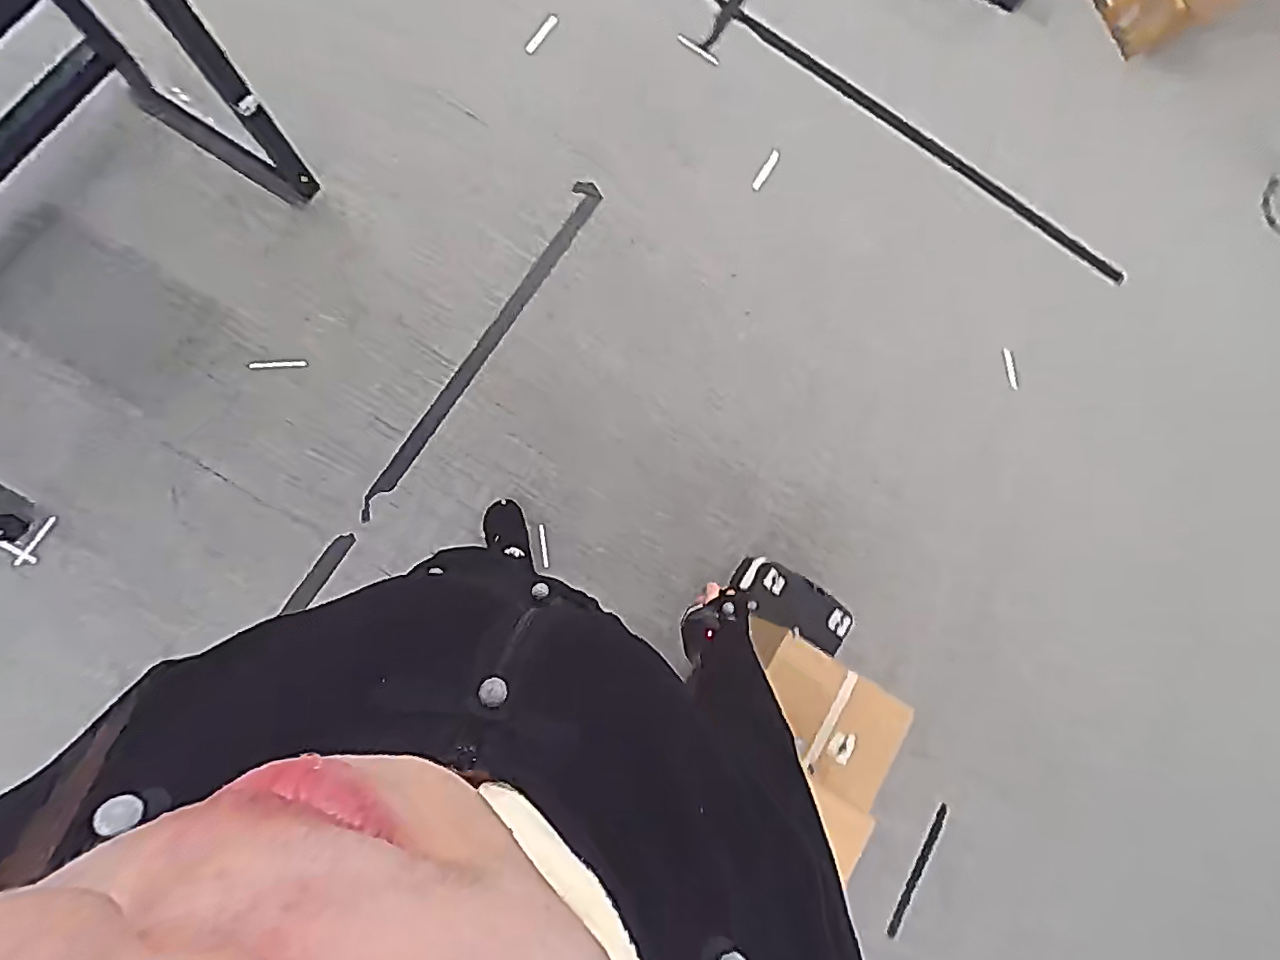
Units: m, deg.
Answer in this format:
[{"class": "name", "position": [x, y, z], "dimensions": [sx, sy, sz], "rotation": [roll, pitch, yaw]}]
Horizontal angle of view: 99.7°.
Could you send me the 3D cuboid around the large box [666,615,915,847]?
[{"class": "large box", "position": [0.301, 0.560, 1.176], "dimensions": [0.320, 0.320, 0.408], "rotation": [33, 79, -3]}]
